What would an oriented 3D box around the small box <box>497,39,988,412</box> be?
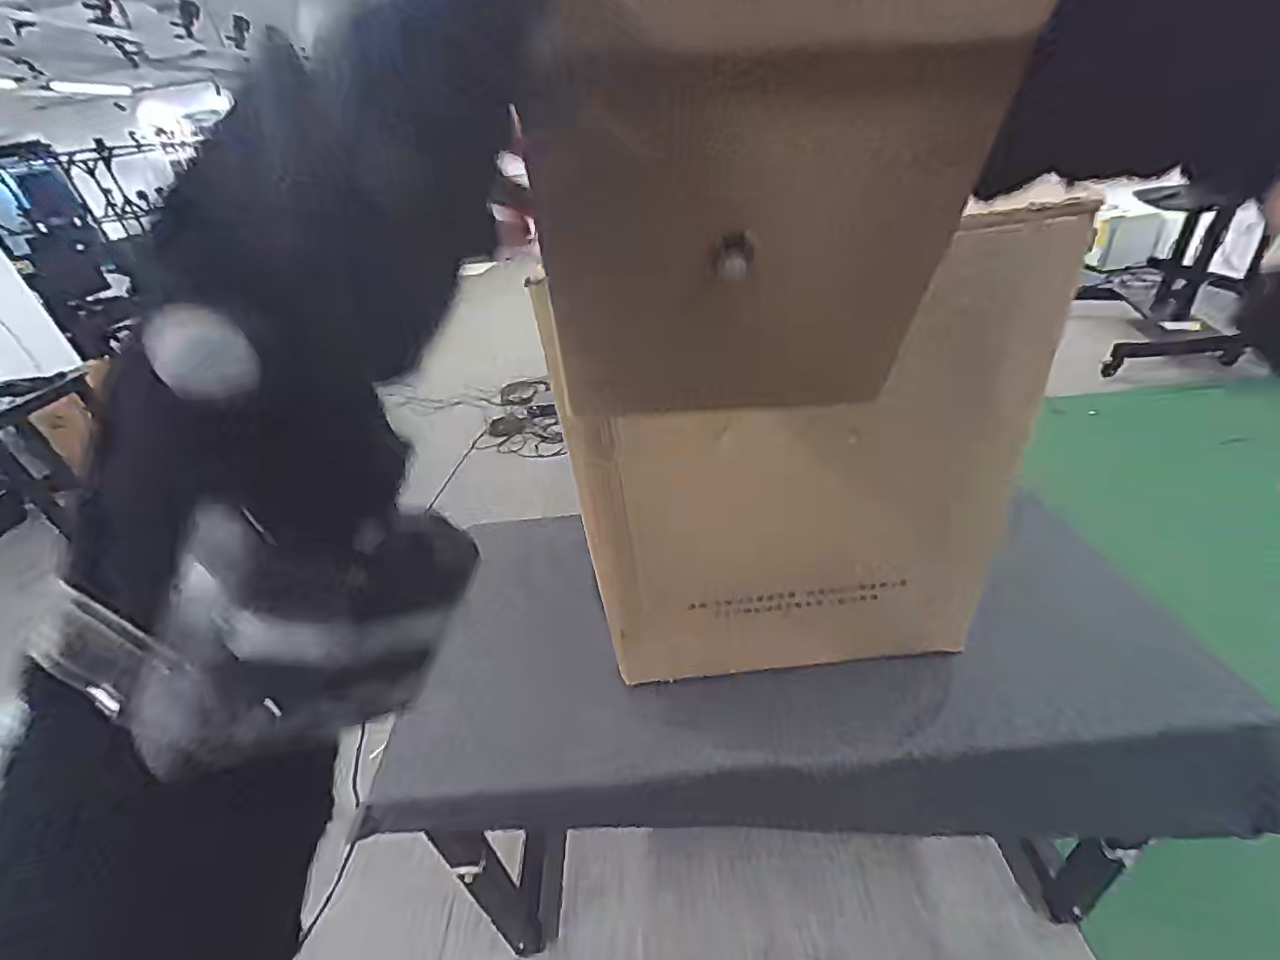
[{"bbox_3d":[0.036,-0.154,0.299,0.179,0.176,0.168,-4,52,0],"label":"small box"}]
